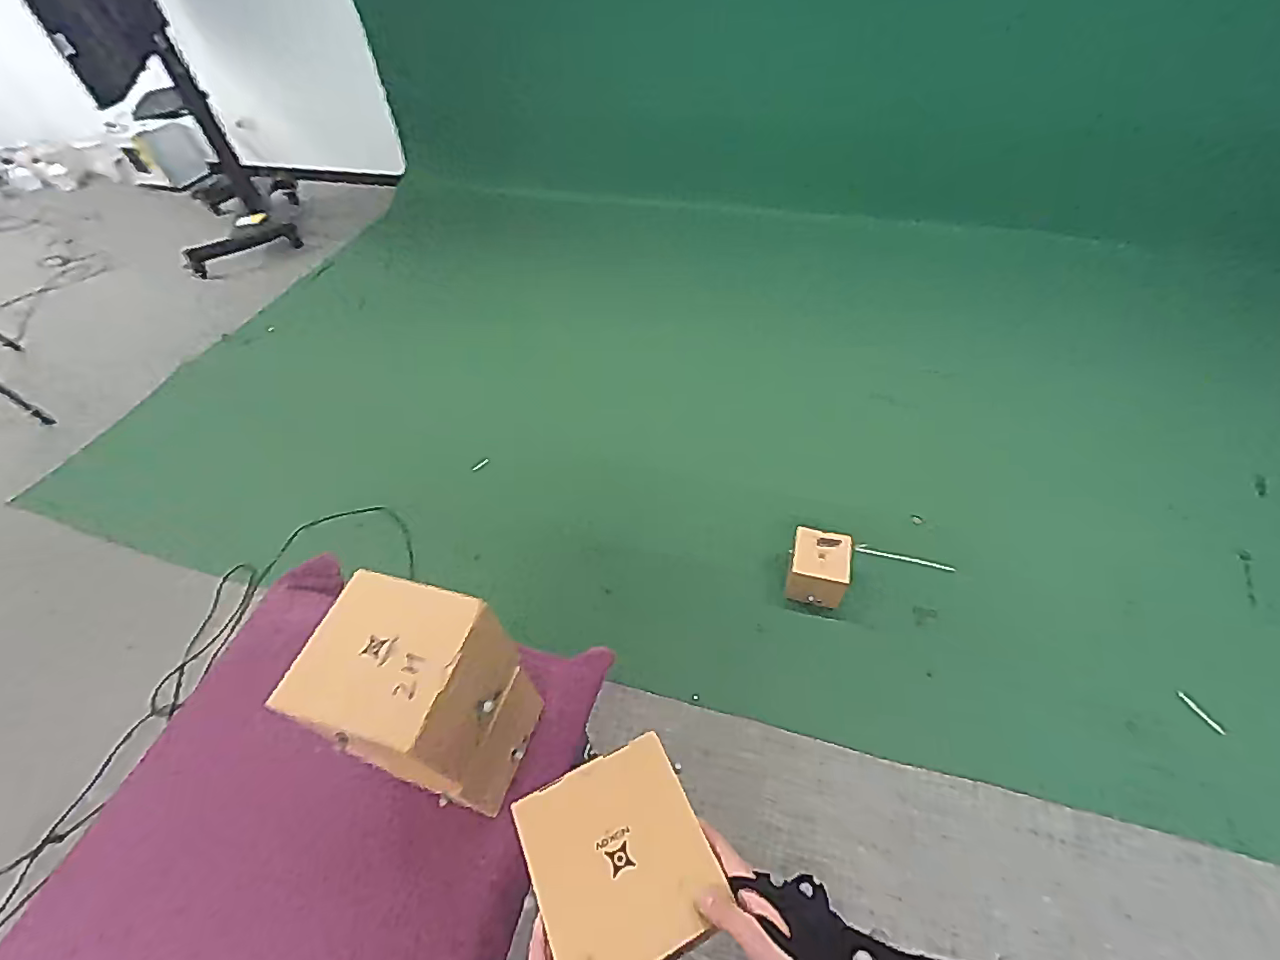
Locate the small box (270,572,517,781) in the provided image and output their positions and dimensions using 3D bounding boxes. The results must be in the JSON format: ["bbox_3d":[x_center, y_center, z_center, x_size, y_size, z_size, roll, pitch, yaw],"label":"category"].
[{"bbox_3d":[-0.274,0.238,0.647,0.179,0.176,0.168,11,53,13],"label":"small box"}]

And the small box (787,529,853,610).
[{"bbox_3d":[0.569,0.286,1.719,0.168,0.176,0.179,10,53,13],"label":"small box"}]
